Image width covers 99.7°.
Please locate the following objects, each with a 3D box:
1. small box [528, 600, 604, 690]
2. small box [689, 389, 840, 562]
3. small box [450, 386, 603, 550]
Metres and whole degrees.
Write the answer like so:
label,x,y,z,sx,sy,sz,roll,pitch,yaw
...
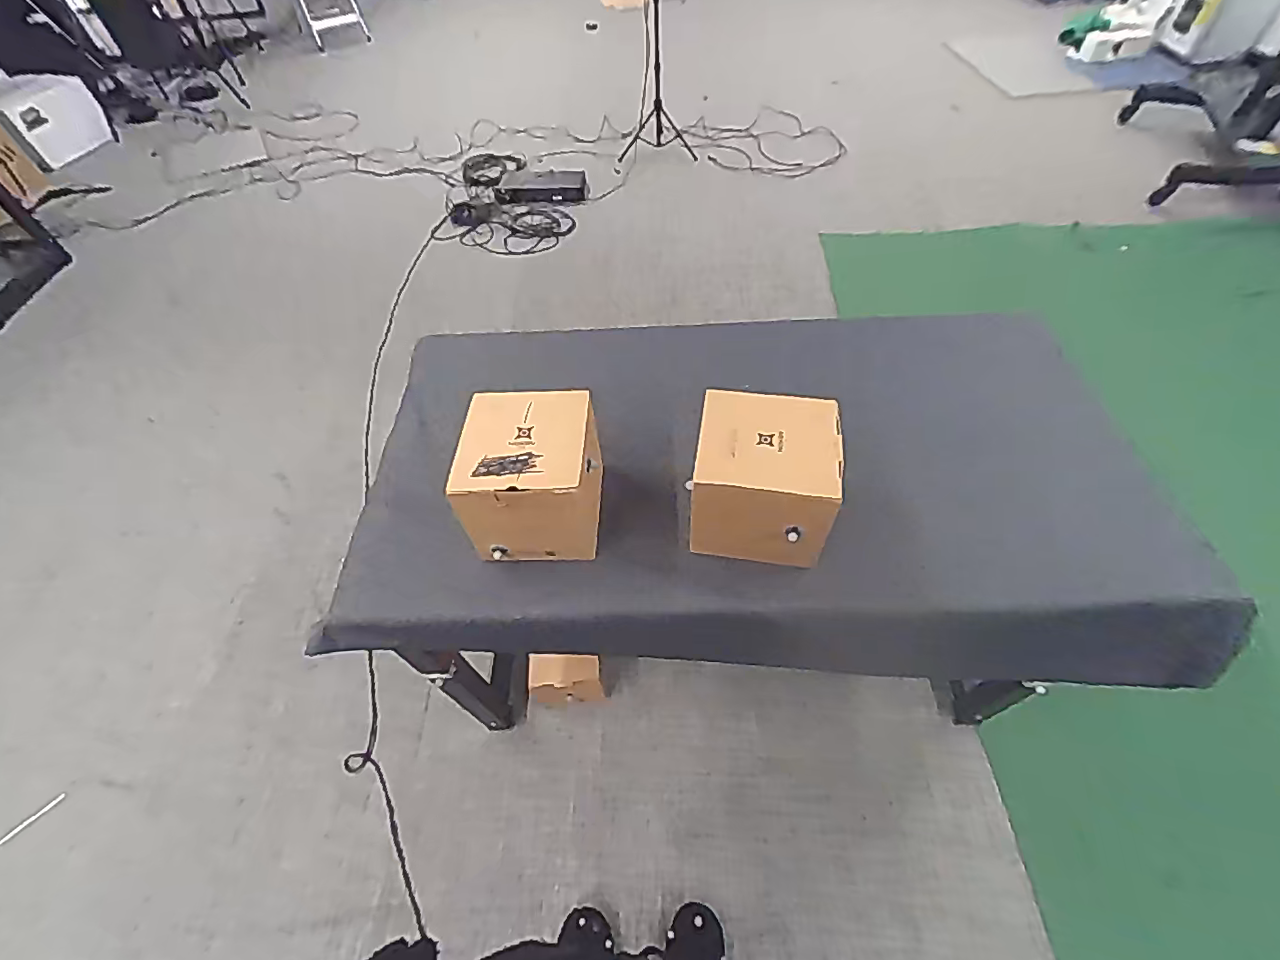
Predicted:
label,x,y,z,sx,sy,sz,roll,pitch,yaw
small box,-0.180,0.421,1.360,0.168,0.176,0.179,-5,55,-1
small box,0.166,-0.002,0.748,0.179,0.176,0.168,6,53,9
small box,-0.145,-0.013,0.768,0.168,0.176,0.179,0,52,3
